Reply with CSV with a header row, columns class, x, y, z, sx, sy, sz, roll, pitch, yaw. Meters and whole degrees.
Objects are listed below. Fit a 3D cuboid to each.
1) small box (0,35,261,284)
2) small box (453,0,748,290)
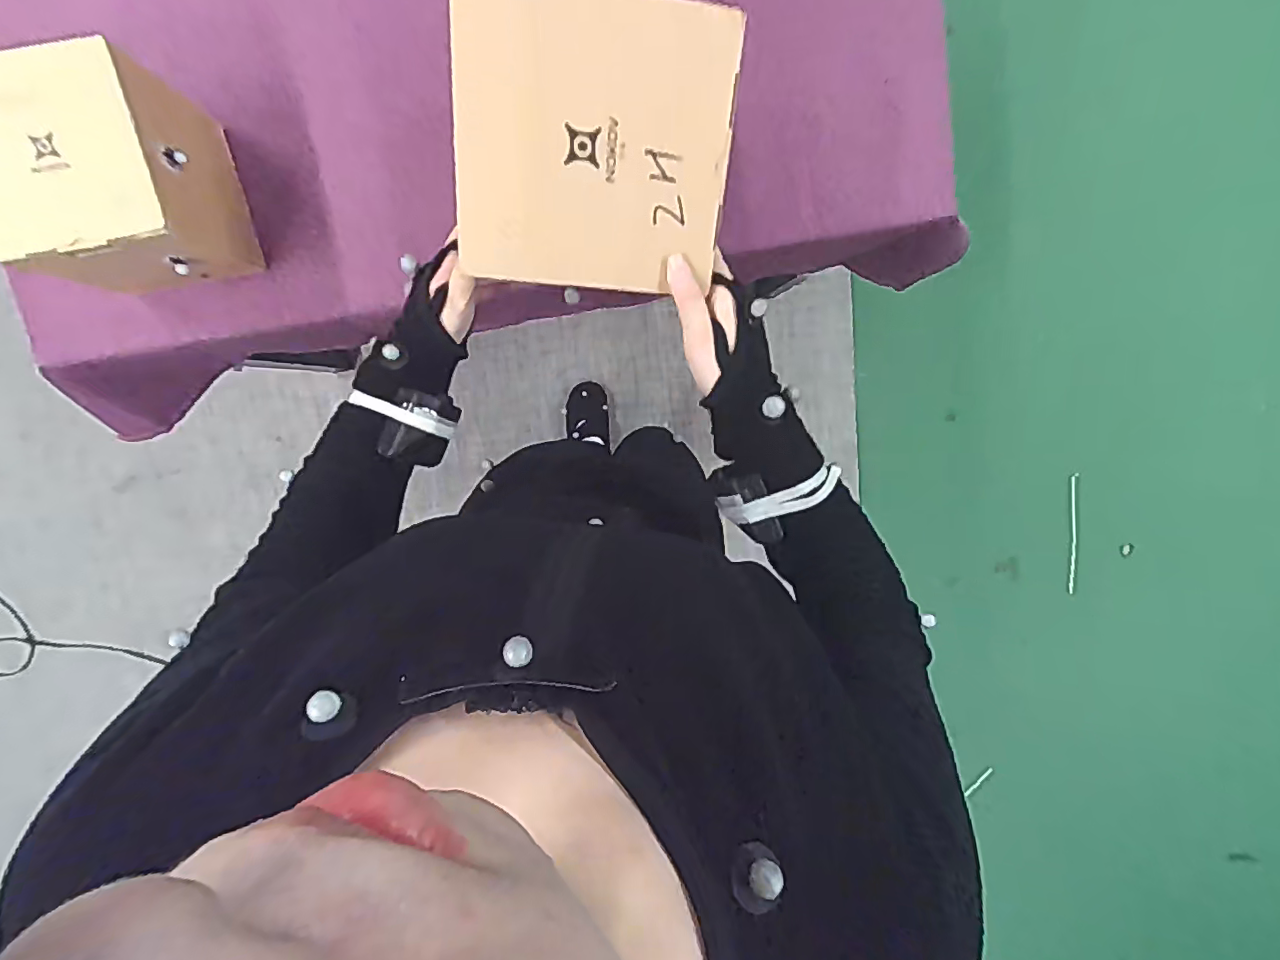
class,x,y,z,sx,sy,sz,roll,pitch,yaw
small box,-0.555,-0.320,0.582,0.168,0.176,0.179,-12,99,-4
small box,-0.038,-0.246,0.418,0.179,0.176,0.168,2,113,-9
